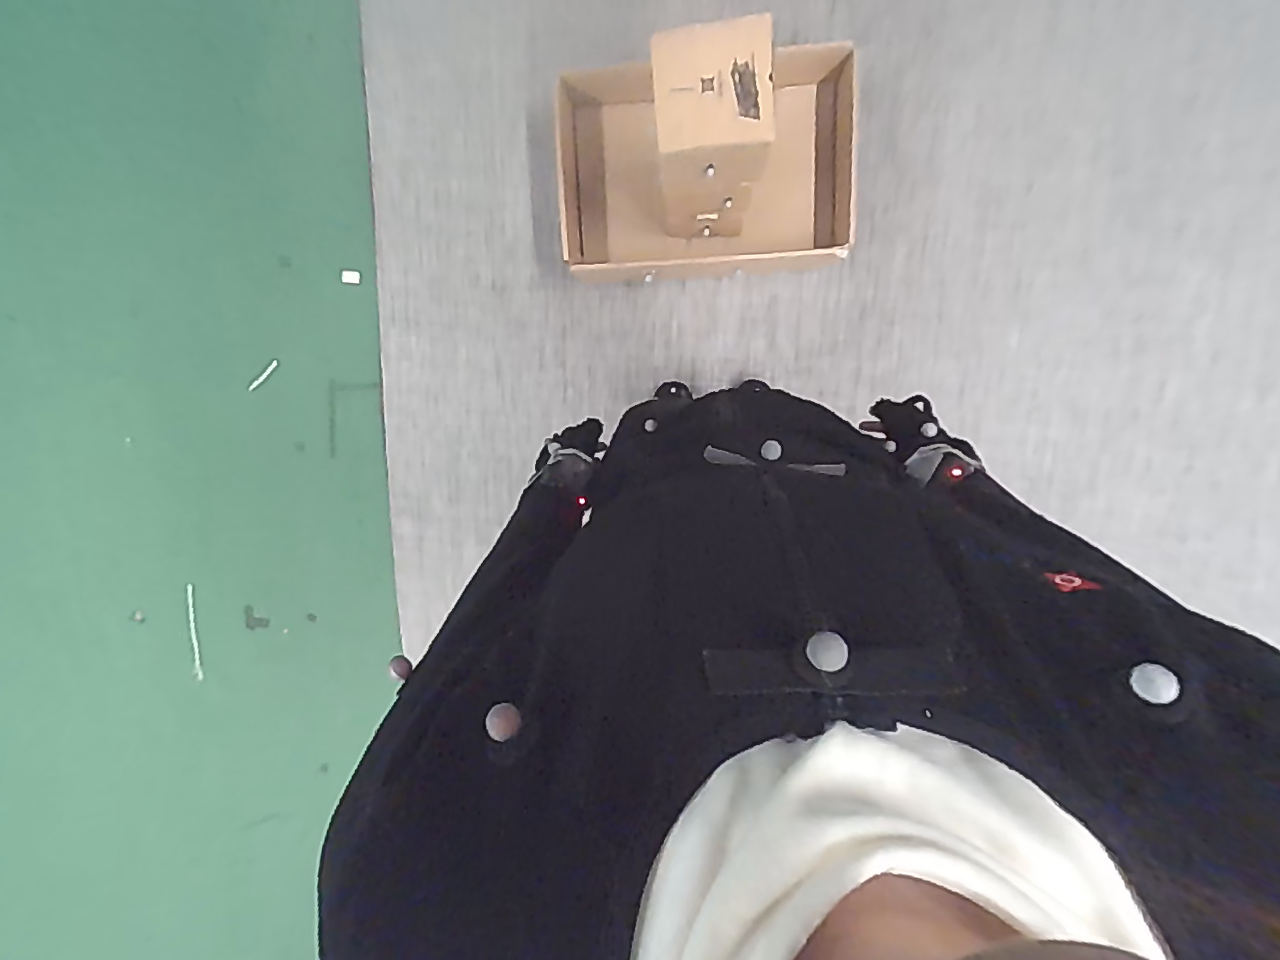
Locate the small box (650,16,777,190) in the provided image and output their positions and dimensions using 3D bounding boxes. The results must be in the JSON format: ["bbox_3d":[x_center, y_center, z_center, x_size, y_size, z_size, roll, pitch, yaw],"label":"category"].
[{"bbox_3d":[0.112,-0.590,0.870,0.179,0.176,0.168,-7,100,5],"label":"small box"}]

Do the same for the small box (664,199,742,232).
[{"bbox_3d":[0.142,-0.655,1.188,0.168,0.176,0.179,2,101,5],"label":"small box"}]
